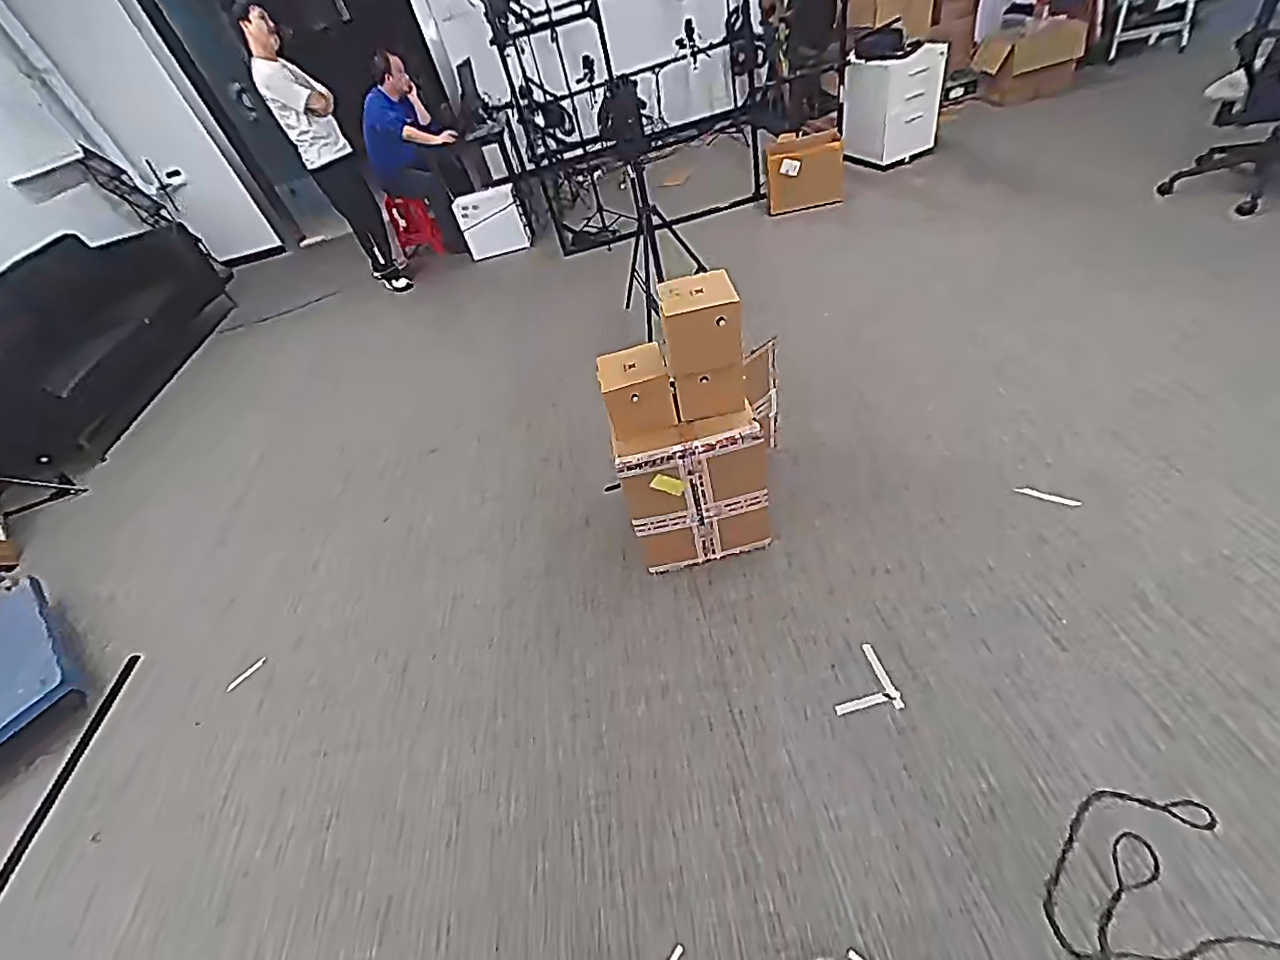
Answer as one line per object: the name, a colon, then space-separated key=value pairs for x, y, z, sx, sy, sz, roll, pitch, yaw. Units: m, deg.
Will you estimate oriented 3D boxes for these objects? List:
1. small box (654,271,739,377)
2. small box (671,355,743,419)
small box: x=0.140 y=-0.377 z=1.315 sx=0.179 sy=0.176 sz=0.168 roll=-12 pitch=45 yaw=4
small box: x=0.173 y=-0.282 z=1.448 sx=0.179 sy=0.176 sz=0.168 roll=-9 pitch=45 yaw=5
